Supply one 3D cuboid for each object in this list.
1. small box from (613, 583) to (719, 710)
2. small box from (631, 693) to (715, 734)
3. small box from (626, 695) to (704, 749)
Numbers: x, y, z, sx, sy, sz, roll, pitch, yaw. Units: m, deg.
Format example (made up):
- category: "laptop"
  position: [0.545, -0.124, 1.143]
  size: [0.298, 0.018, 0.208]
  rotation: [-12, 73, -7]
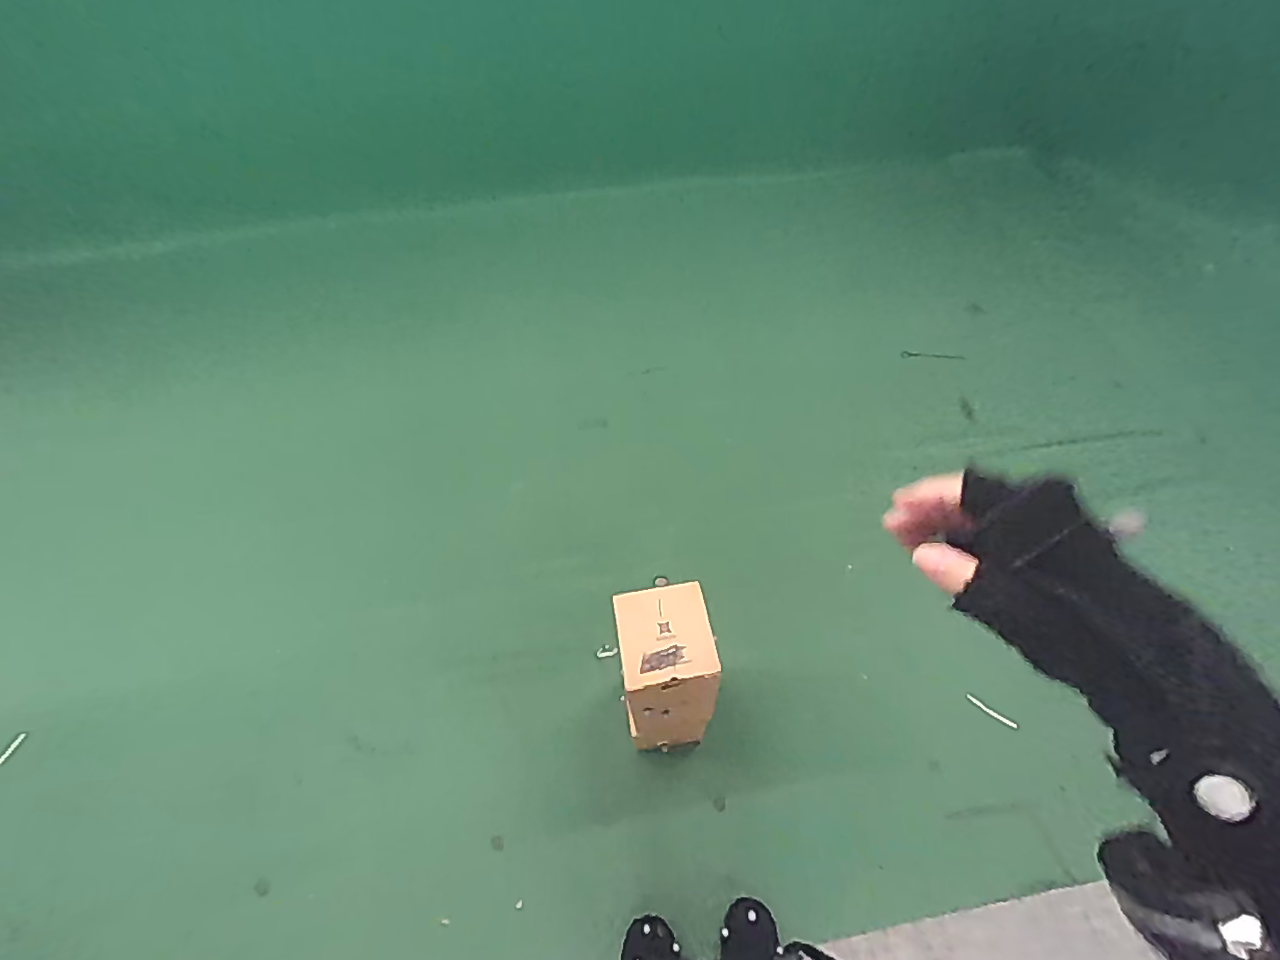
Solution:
- category: "small box"
  position: [0.047, 0.318, 1.015]
  size: [0.168, 0.176, 0.179]
  rotation: [-9, 53, -4]
- category: "small box"
  position: [0.056, 0.416, 1.148]
  size: [0.168, 0.176, 0.179]
  rotation: [-9, 52, -3]
- category: "small box"
  position: [0.052, 0.508, 1.260]
  size: [0.168, 0.176, 0.179]
  rotation: [-7, 54, -1]
